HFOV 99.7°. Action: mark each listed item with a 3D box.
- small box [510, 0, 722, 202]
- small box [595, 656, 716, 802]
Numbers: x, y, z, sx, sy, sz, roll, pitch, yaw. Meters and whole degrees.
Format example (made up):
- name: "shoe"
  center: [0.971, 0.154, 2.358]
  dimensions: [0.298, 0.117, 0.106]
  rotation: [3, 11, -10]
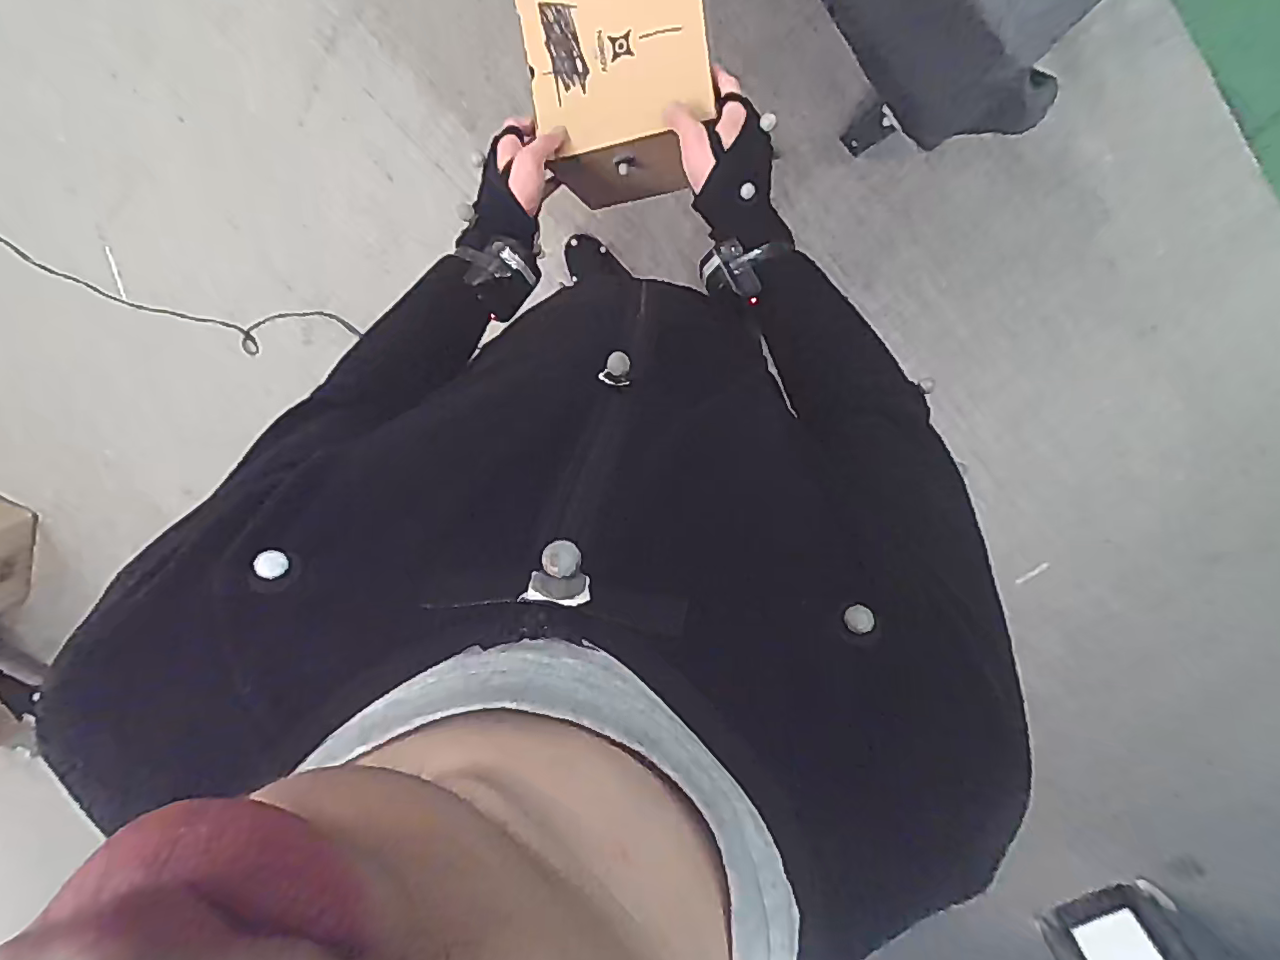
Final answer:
- name: "small box"
  center: [-0.014, -0.414, 0.570]
  dimensions: [0.179, 0.176, 0.168]
  rotation: [-6, 100, 13]
- name: "small box"
  center: [0.036, 0.501, 1.100]
  dimensions: [0.179, 0.176, 0.168]
  rotation: [-40, 105, 18]
